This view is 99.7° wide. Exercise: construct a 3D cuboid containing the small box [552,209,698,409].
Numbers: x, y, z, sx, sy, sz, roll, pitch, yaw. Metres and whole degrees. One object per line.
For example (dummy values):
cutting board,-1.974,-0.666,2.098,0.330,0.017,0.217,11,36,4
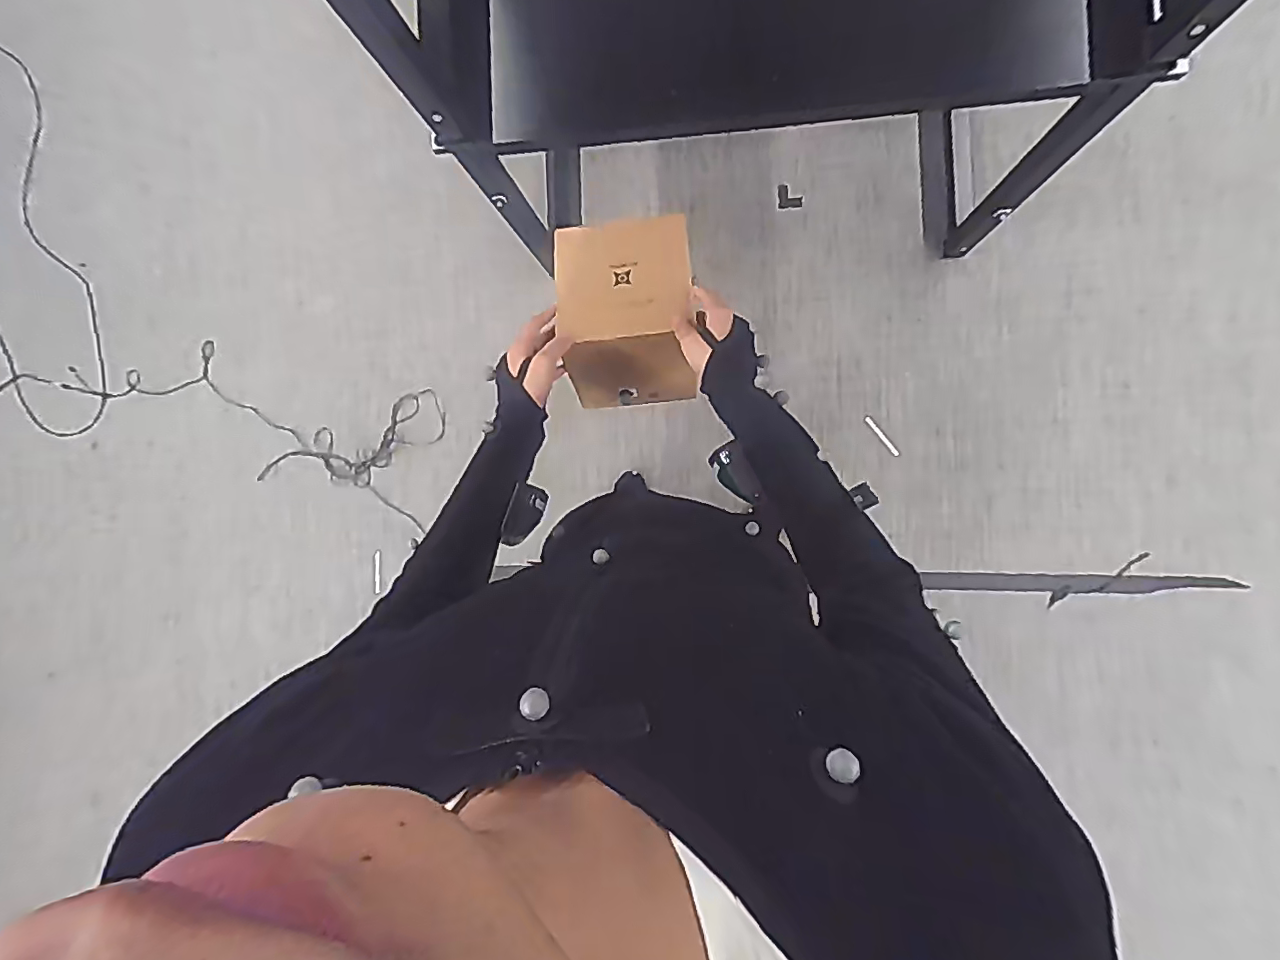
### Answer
small box,-0.014,-0.213,0.704,0.168,0.176,0.179,-5,69,5
